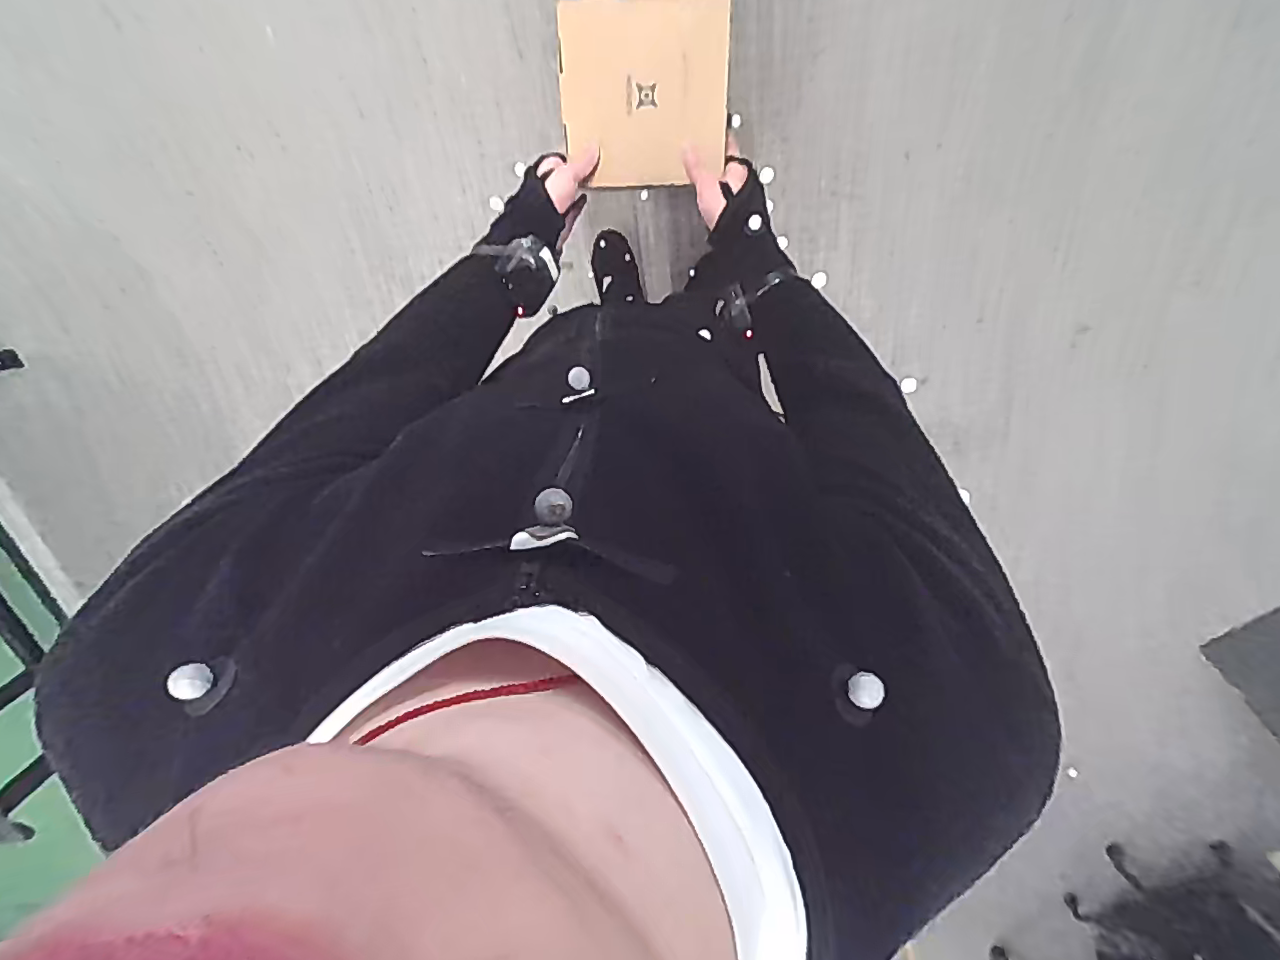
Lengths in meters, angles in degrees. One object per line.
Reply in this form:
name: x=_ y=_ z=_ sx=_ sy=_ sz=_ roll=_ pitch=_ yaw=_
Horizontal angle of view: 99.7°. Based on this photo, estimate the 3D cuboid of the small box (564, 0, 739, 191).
small box: x=0.021 y=-0.436 z=0.633 sx=0.179 sy=0.176 sz=0.168 roll=0 pitch=117 yaw=6
